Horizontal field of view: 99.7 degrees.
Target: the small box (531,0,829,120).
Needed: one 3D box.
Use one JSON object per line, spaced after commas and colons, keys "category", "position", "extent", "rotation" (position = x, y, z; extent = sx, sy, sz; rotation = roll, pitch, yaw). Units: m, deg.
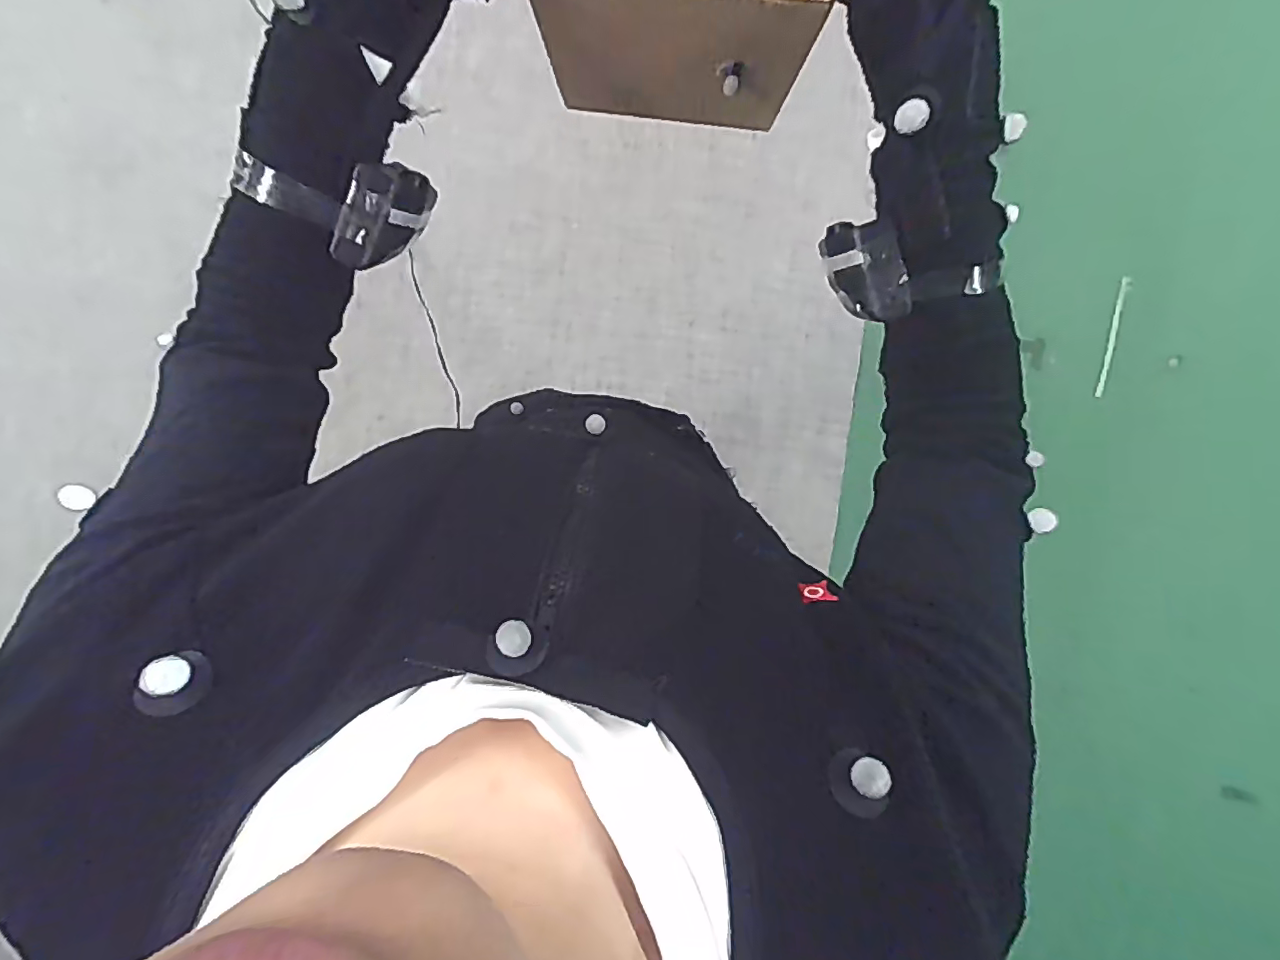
{"category": "small box", "position": [0.030, -0.367, 0.358], "extent": [0.179, 0.176, 0.168], "rotation": [6, 101, 2]}
